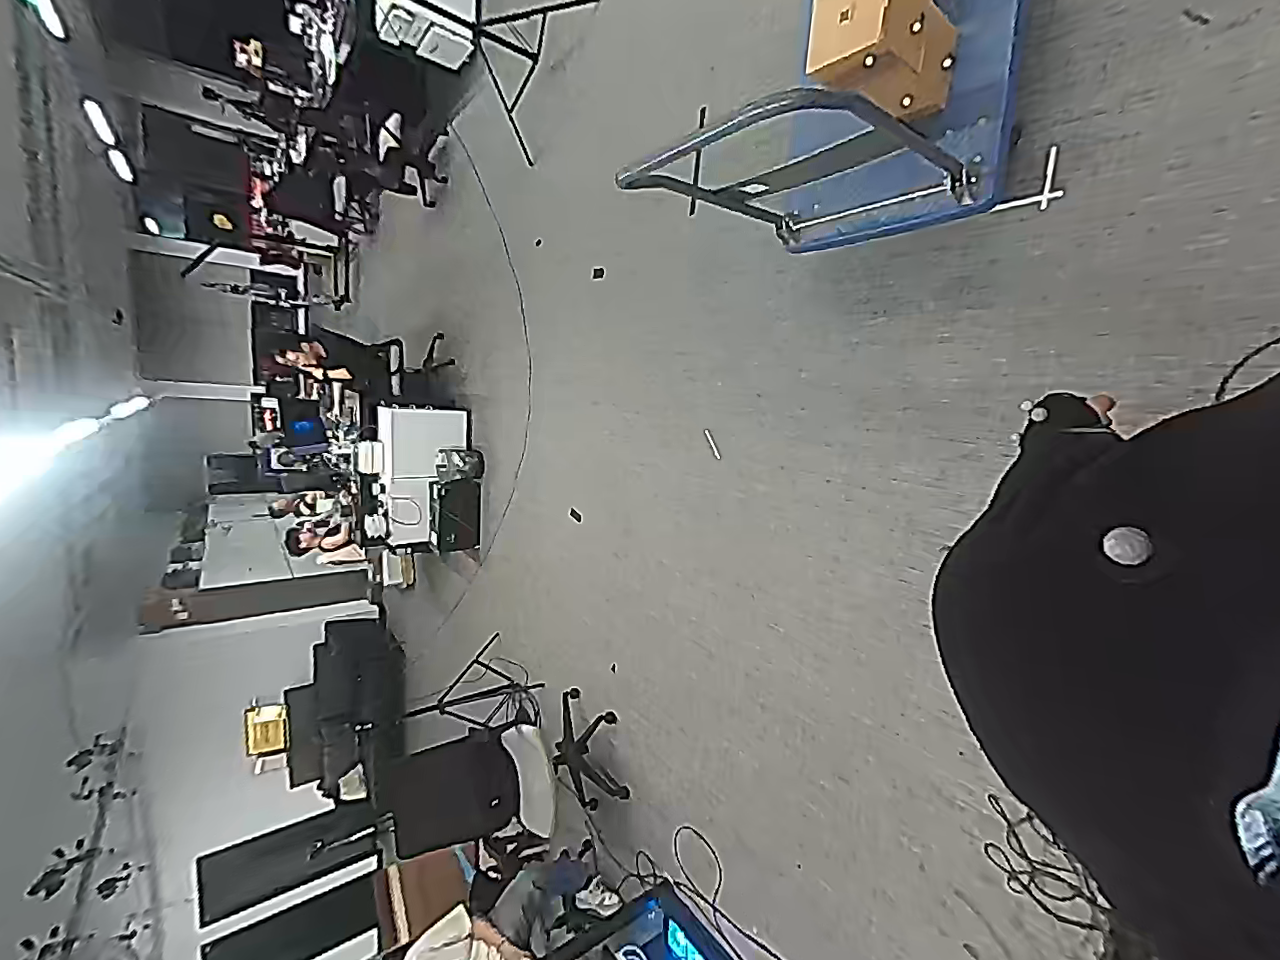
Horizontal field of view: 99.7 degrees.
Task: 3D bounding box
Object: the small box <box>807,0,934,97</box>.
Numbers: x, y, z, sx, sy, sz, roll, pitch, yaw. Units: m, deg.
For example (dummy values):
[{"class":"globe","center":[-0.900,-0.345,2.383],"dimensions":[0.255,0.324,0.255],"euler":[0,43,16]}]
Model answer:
[{"class":"small box","center":[0.485,-0.952,1.141],"dimensions":[0.179,0.176,0.168],"euler":[16,105,50]}]
